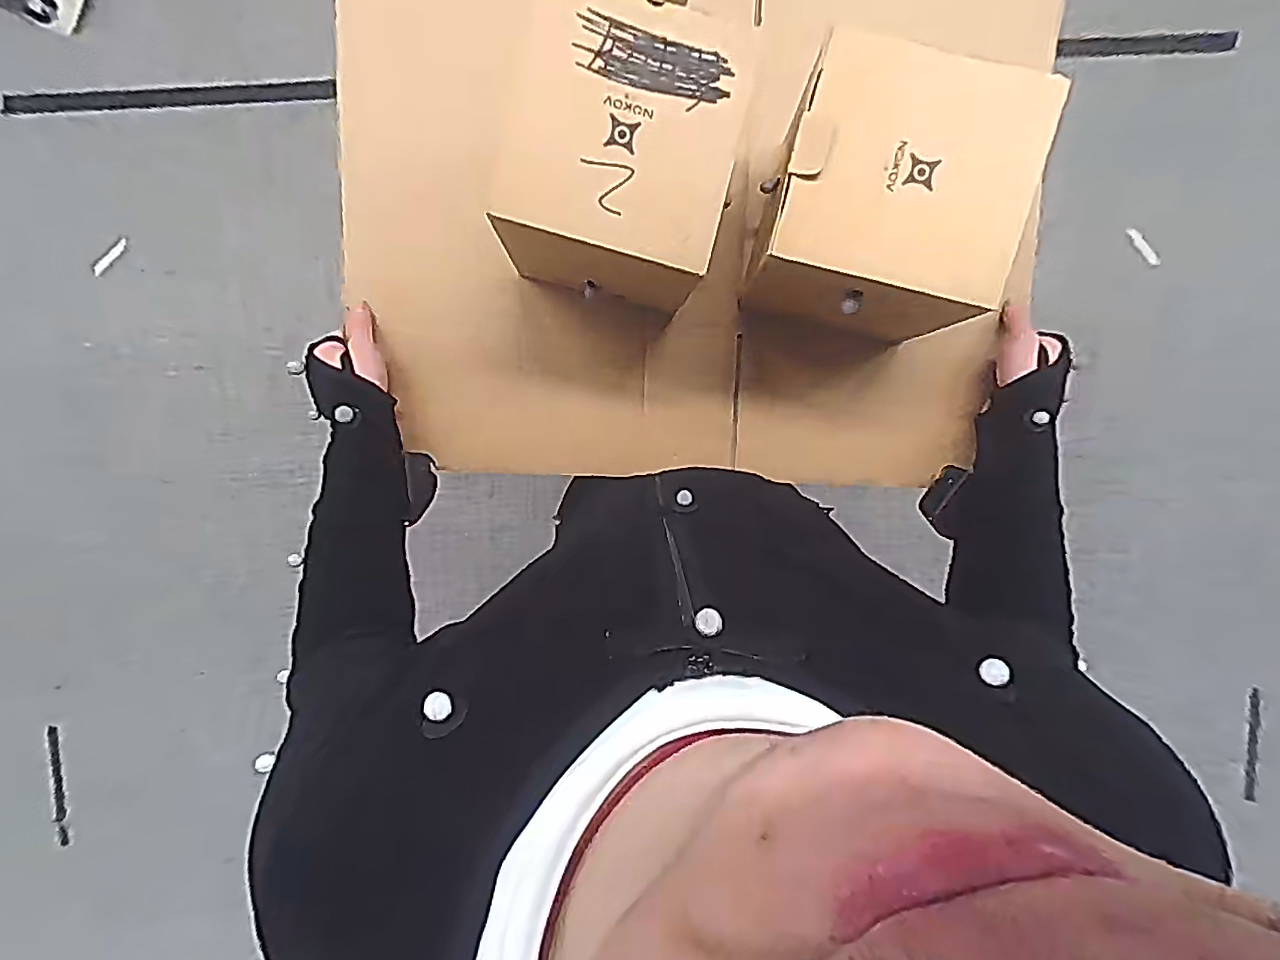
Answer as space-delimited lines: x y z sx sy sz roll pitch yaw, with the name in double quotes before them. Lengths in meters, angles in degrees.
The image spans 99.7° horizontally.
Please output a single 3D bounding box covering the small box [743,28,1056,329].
"small box" 0.204 -0.241 0.483 0.179 0.176 0.168 15 97 2
